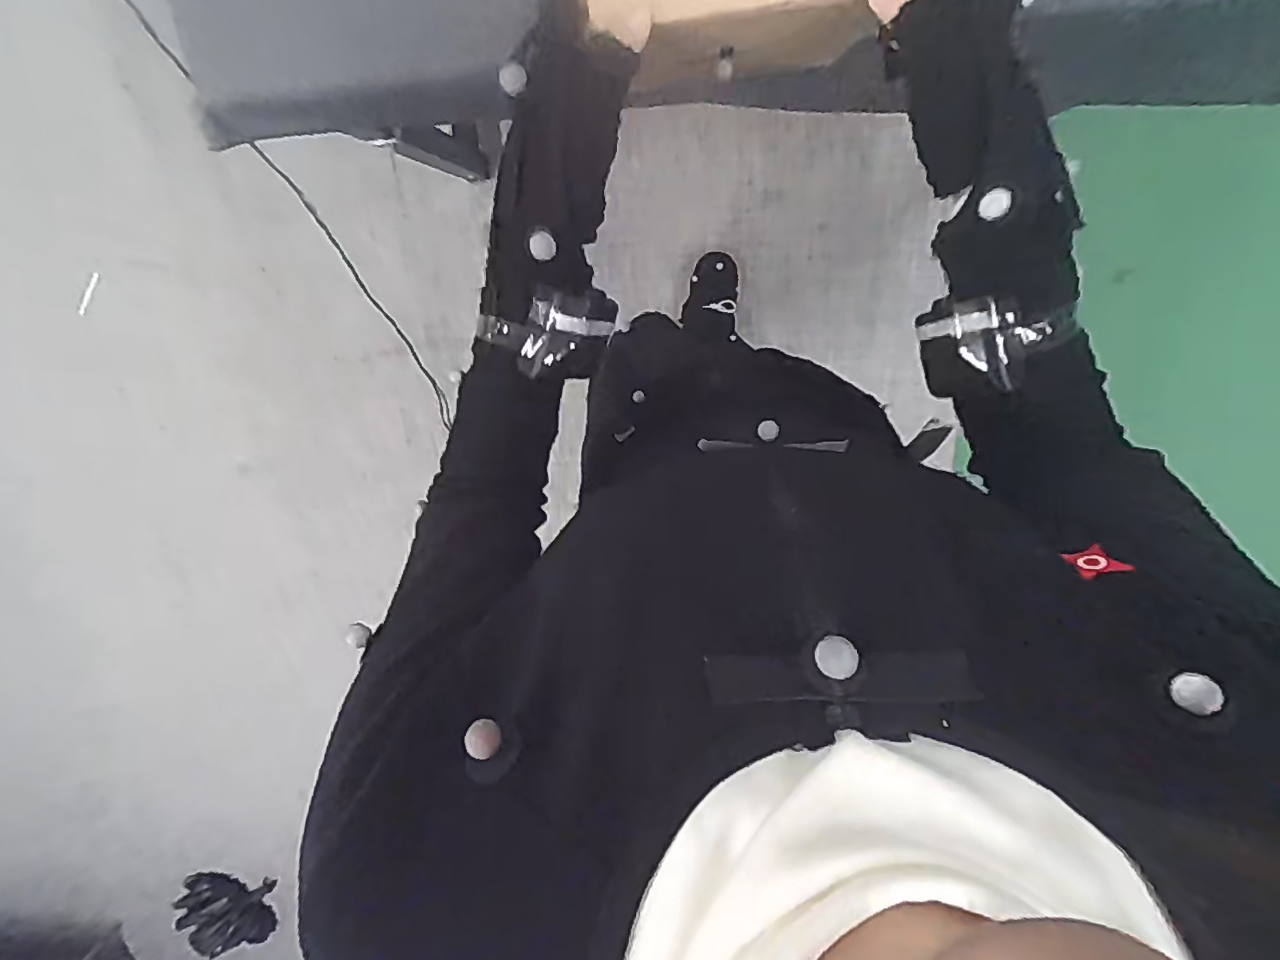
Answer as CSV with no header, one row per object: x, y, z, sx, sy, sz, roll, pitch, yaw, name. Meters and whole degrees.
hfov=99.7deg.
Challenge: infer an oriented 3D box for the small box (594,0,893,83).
0.056,-0.368,0.332,0.179,0.176,0.168,-5,115,5,small box
